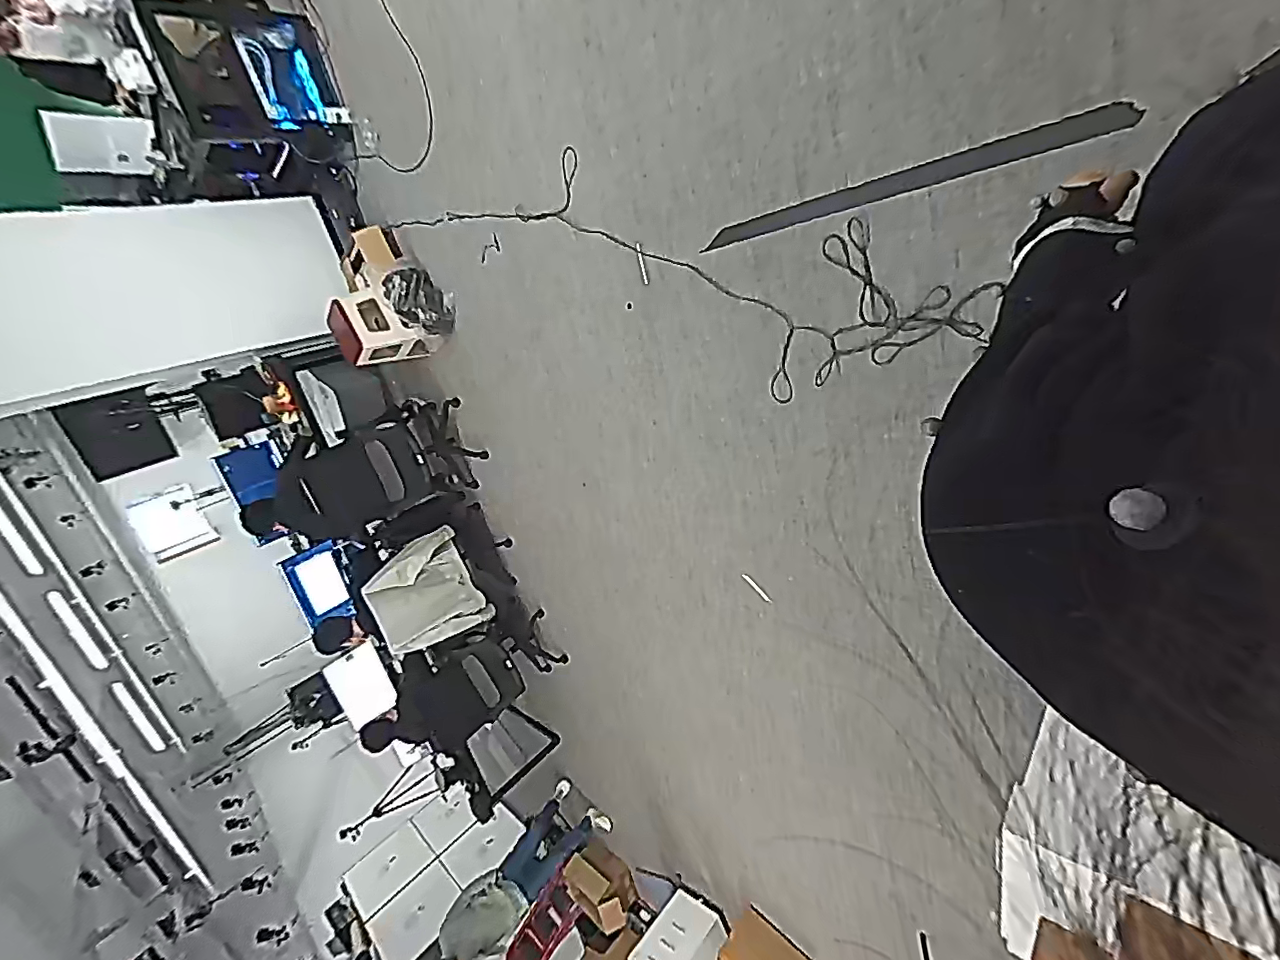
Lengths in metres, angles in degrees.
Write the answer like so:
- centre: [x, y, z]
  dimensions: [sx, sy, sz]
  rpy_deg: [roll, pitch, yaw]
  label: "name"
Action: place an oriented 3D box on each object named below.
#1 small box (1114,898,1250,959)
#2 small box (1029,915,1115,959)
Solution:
- centre: [0.902, 0.860, 0.899]
  dimensions: [0.168, 0.176, 0.179]
  rpy_deg: [10, 122, 44]
  label: "small box"
- centre: [0.861, 1.021, 1.052]
  dimensions: [0.168, 0.176, 0.179]
  rpy_deg: [6, 116, 44]
  label: "small box"
